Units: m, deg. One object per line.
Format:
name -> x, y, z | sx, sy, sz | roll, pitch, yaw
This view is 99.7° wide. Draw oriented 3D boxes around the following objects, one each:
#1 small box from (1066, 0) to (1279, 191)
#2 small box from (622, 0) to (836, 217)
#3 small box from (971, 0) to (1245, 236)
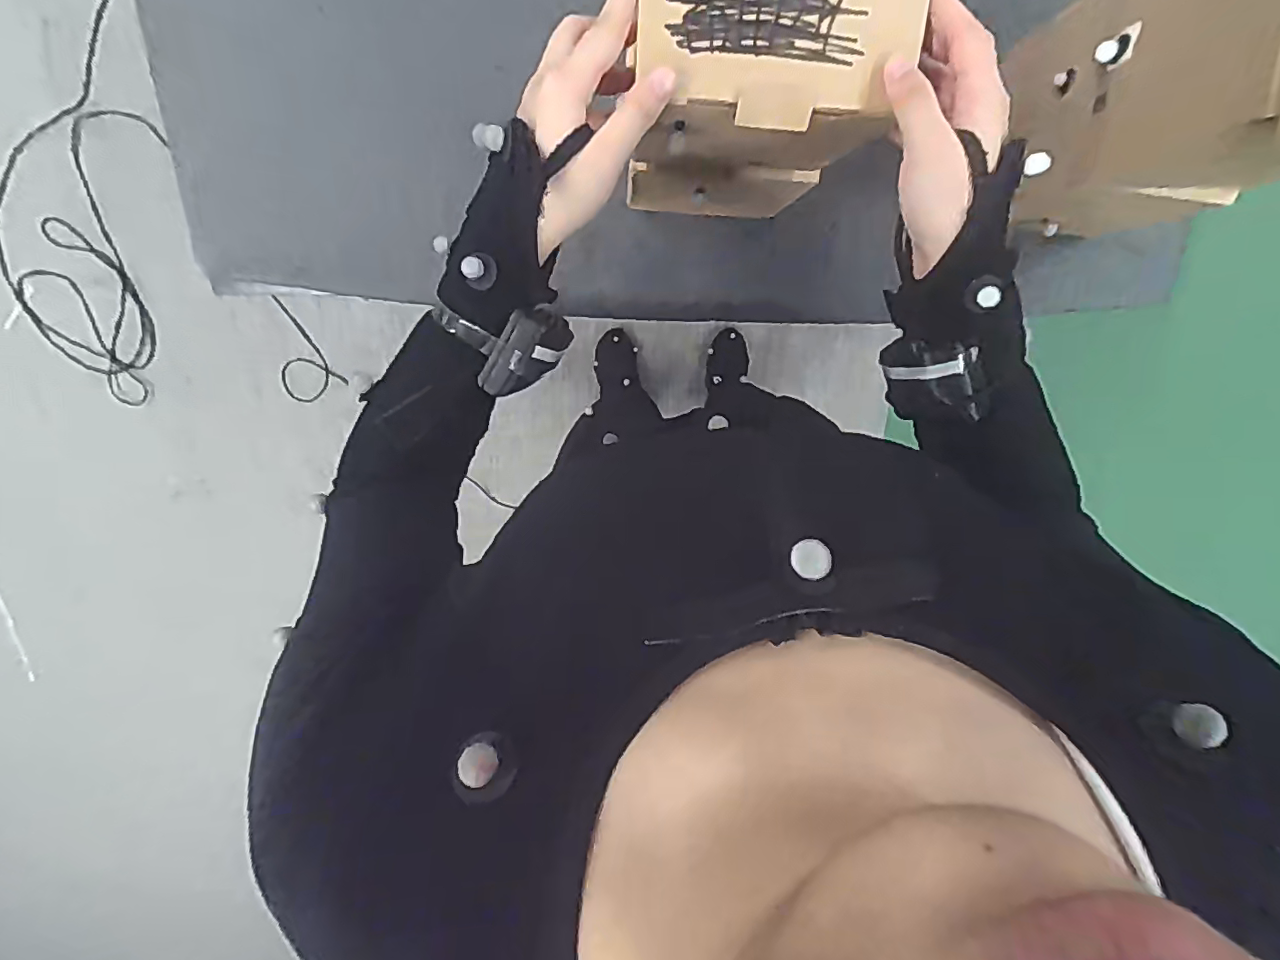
small box -> 0.472, -0.325, 0.397 | 0.179, 0.176, 0.168 | -2, 103, 1
small box -> 0.074, -0.372, 0.543 | 0.179, 0.176, 0.168 | 2, 106, -2
small box -> 0.479, -0.366, 0.553 | 0.168, 0.176, 0.179 | 5, 105, -2
